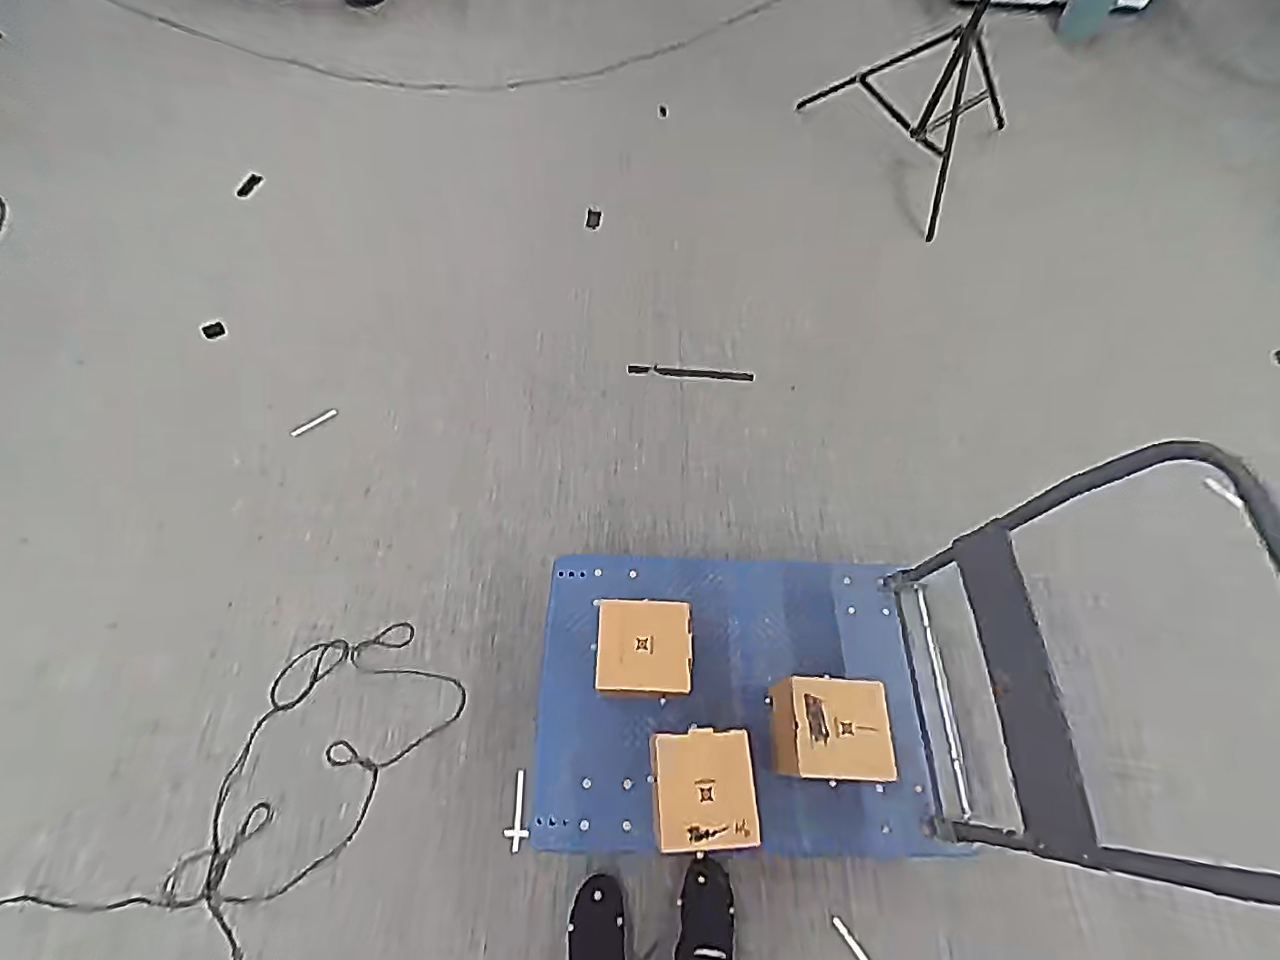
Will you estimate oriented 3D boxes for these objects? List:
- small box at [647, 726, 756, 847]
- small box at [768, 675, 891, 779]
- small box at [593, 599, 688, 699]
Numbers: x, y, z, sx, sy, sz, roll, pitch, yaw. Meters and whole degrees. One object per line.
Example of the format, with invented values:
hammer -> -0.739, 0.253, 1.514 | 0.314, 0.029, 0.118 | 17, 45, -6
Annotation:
small box -> 0.102, 0.557, 0.991 | 0.168, 0.176, 0.179 | -1, 62, -4
small box -> 0.350, 0.478, 1.042 | 0.179, 0.176, 0.168 | 4, 63, -2
small box -> -0.001, 0.345, 1.091 | 0.179, 0.176, 0.168 | 2, 63, -2
